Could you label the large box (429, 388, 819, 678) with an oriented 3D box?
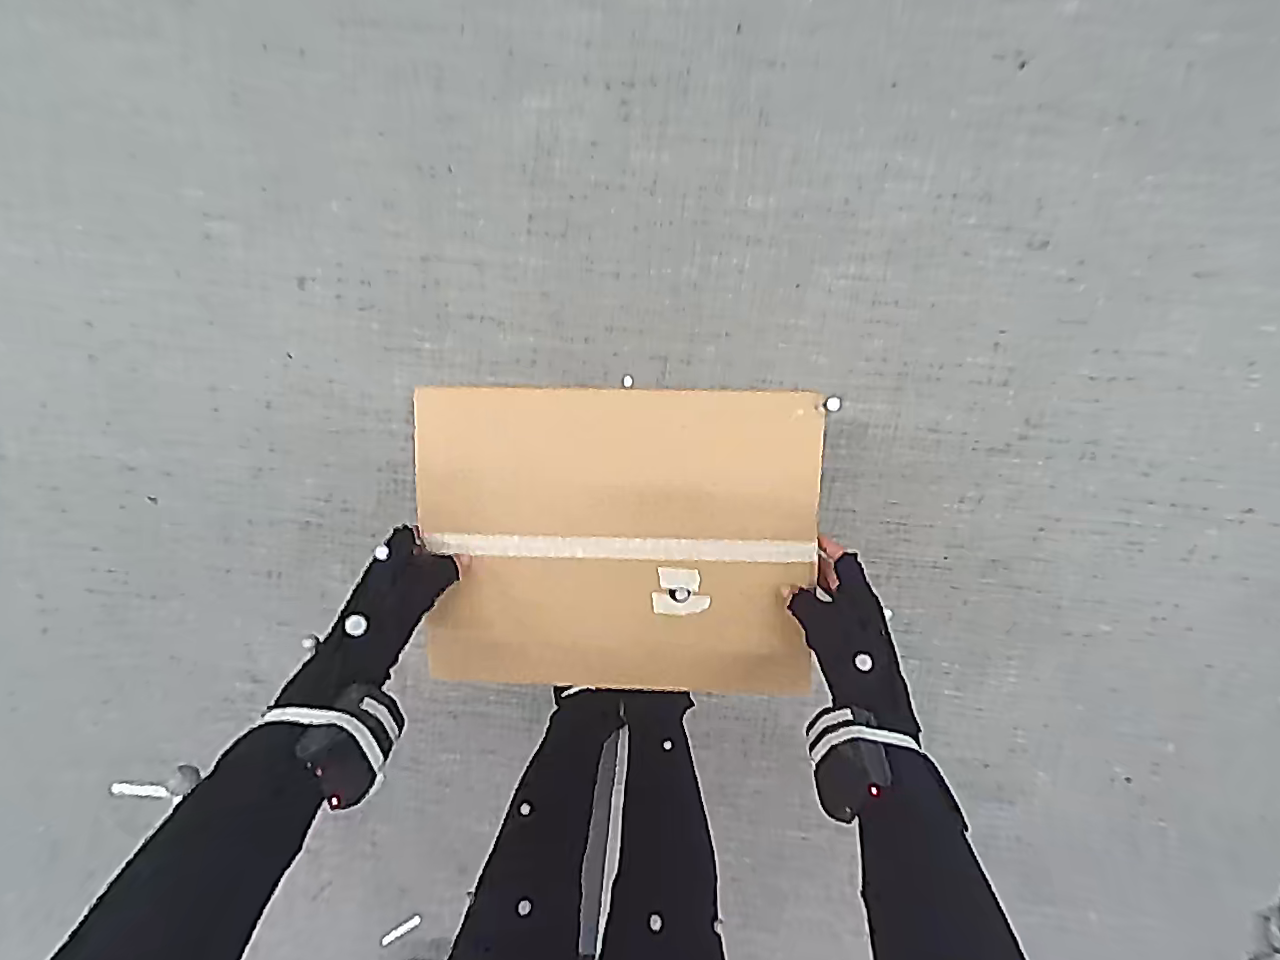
[{"bbox_3d":[-0.015,0.042,0.715,0.408,0.320,0.320,1,99,2],"label":"large box"}]
